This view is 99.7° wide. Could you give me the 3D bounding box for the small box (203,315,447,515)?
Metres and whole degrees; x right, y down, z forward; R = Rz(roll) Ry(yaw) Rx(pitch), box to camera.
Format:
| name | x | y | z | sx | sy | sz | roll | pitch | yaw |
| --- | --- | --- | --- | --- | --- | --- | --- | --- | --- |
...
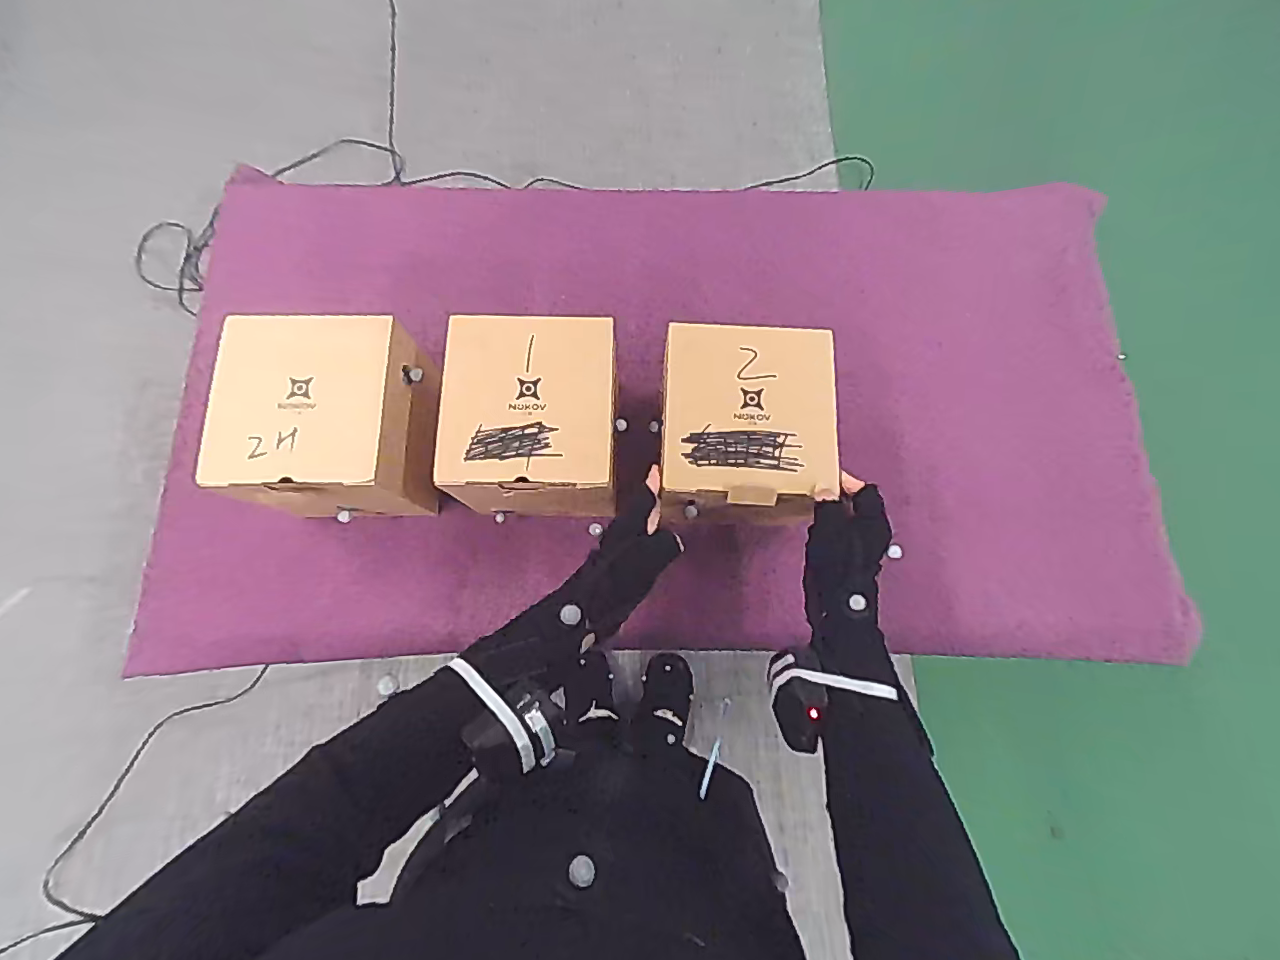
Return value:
| name | x | y | z | sx | sy | sz | roll | pitch | yaw |
| --- | --- | --- | --- | --- | --- | --- | --- | --- | --- |
| small box | -0.325 | -0.062 | 0.600 | 0.168 | 0.176 | 0.179 | 0 | 77 | 0 |
